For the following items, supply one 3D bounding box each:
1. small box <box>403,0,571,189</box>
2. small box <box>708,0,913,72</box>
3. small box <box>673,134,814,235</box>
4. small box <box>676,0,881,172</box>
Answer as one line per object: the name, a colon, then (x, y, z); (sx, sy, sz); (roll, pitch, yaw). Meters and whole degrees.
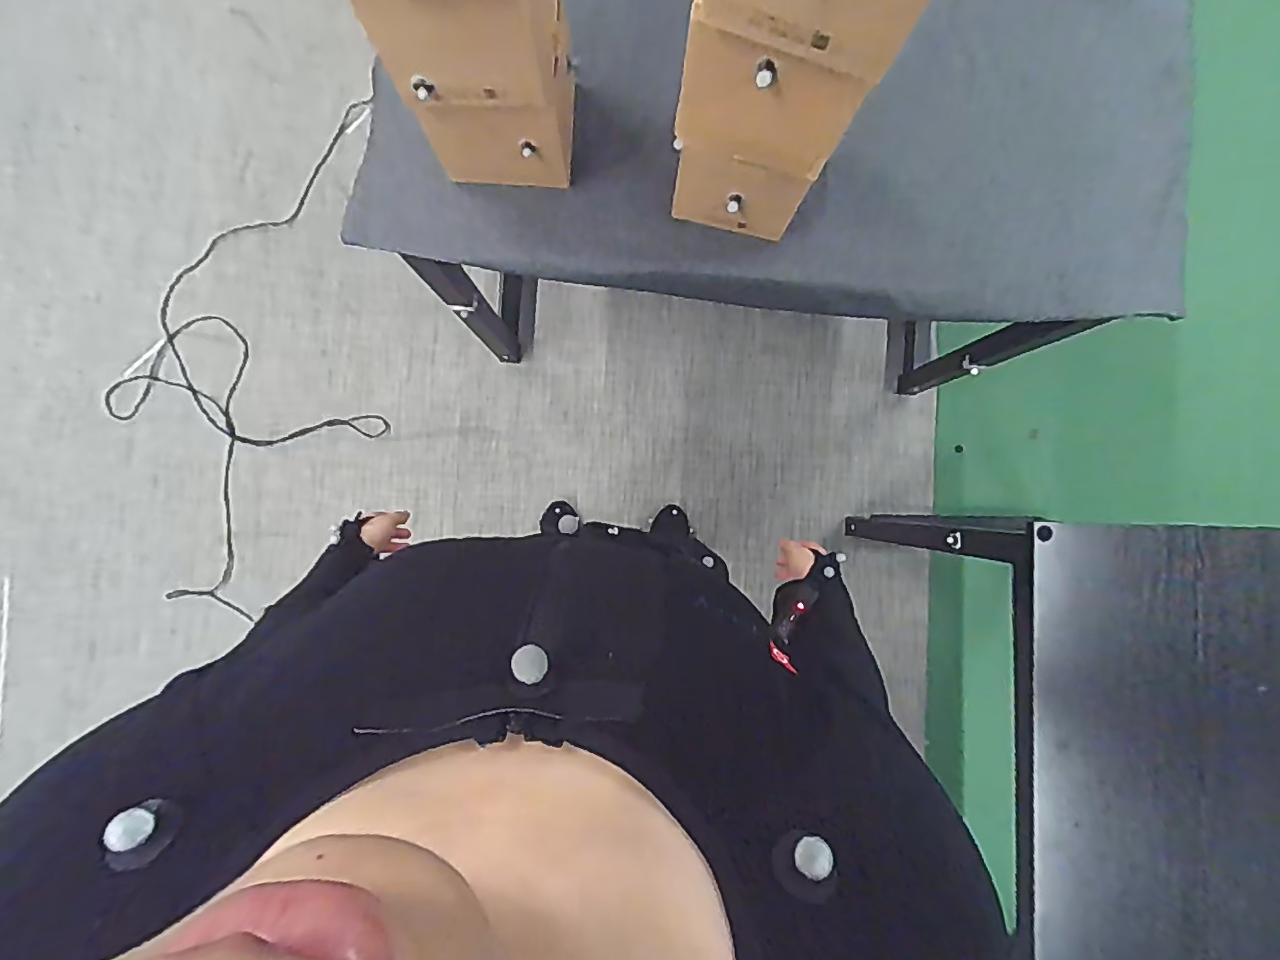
small box: (-0.187, -0.510, 0.712); (0.179, 0.176, 0.168); (2, 86, 0)
small box: (0.148, -0.448, 0.384); (0.168, 0.176, 0.179); (19, 87, 0)
small box: (0.141, -0.454, 0.713); (0.168, 0.176, 0.179); (12, 88, 0)
small box: (0.146, -0.453, 0.550); (0.179, 0.176, 0.168); (17, 87, 1)
